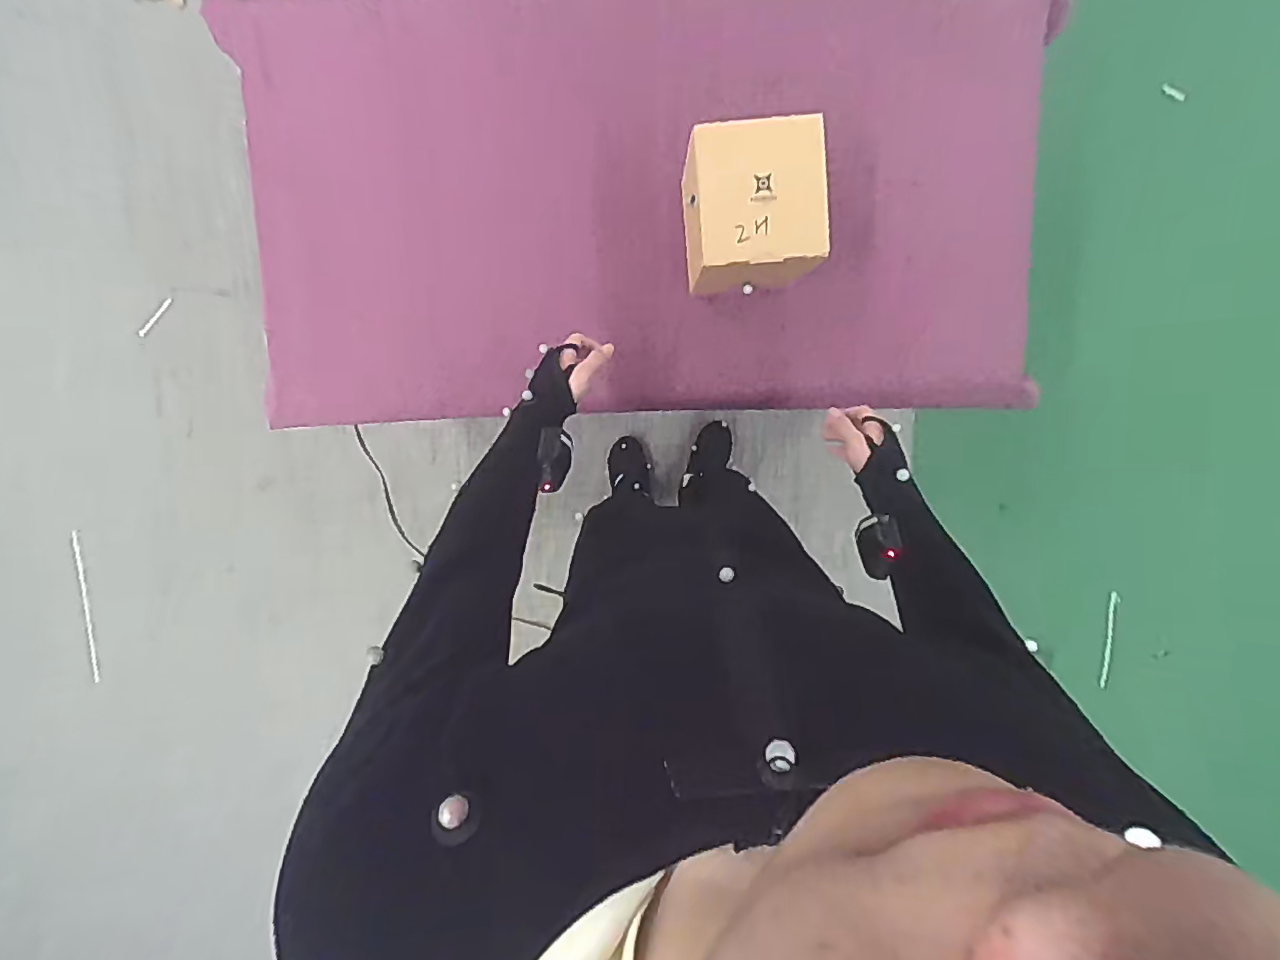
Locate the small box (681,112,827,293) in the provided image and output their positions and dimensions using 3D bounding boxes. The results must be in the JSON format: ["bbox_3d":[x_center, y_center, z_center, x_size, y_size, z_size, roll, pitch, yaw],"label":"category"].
[{"bbox_3d":[0.151,-0.376,0.761,0.168,0.176,0.179,-5,97,0],"label":"small box"}]
